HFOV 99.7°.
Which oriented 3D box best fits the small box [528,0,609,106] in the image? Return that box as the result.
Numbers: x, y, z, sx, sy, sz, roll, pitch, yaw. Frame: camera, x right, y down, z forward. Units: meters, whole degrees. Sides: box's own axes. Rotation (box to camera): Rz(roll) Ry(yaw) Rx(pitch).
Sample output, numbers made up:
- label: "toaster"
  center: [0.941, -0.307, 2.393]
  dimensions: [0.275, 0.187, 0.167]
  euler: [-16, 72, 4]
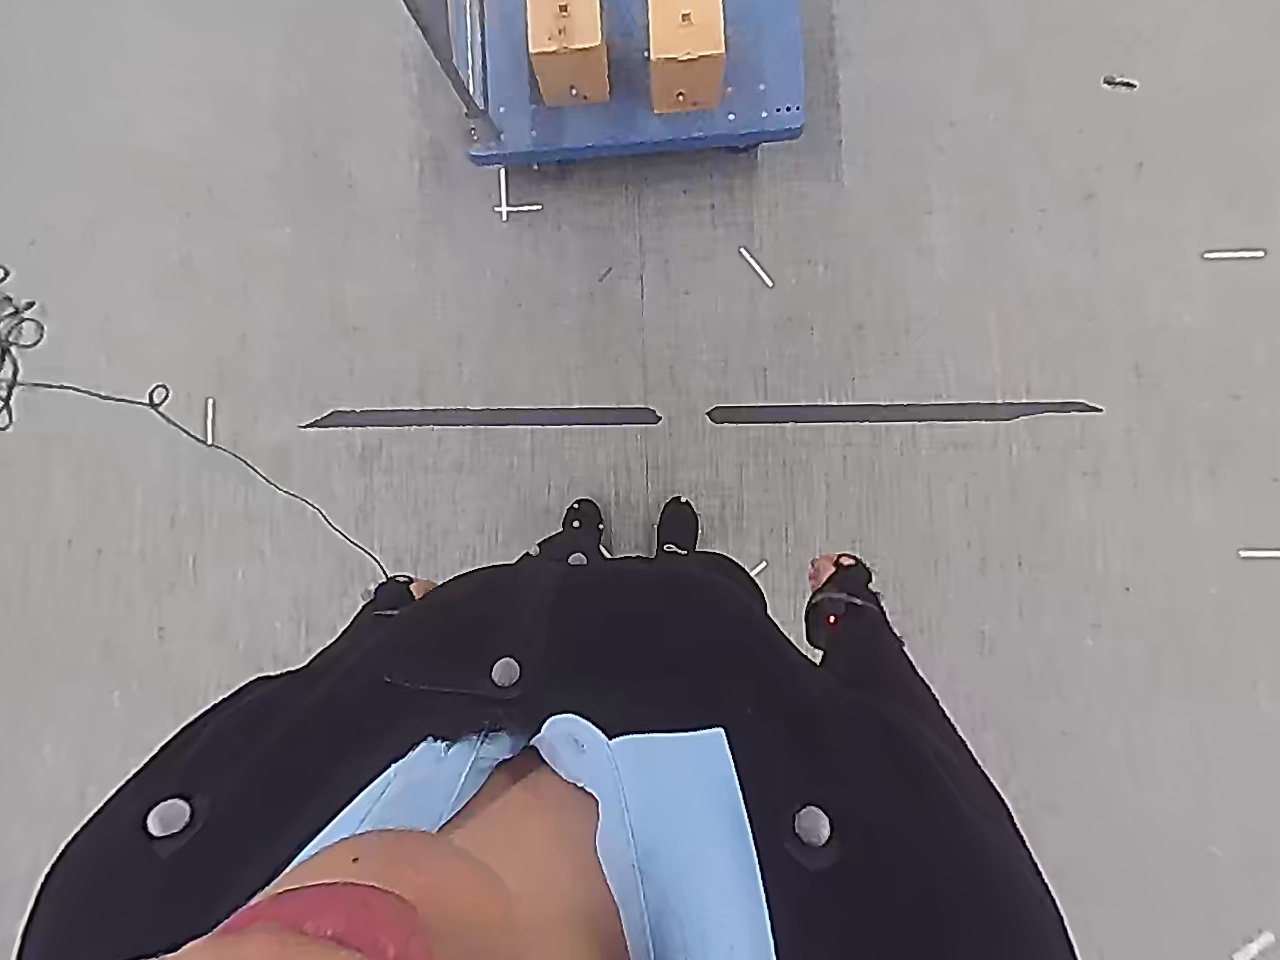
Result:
- label: "small box"
  center: [-0.166, -1.036, 1.283]
  dimensions: [0.168, 0.176, 0.179]
  euler: [-3, 88, 3]

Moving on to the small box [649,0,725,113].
- label: "small box"
  center: [0.106, -1.009, 1.270]
  dimensions: [0.168, 0.176, 0.179]
  euler: [-3, 88, 3]
